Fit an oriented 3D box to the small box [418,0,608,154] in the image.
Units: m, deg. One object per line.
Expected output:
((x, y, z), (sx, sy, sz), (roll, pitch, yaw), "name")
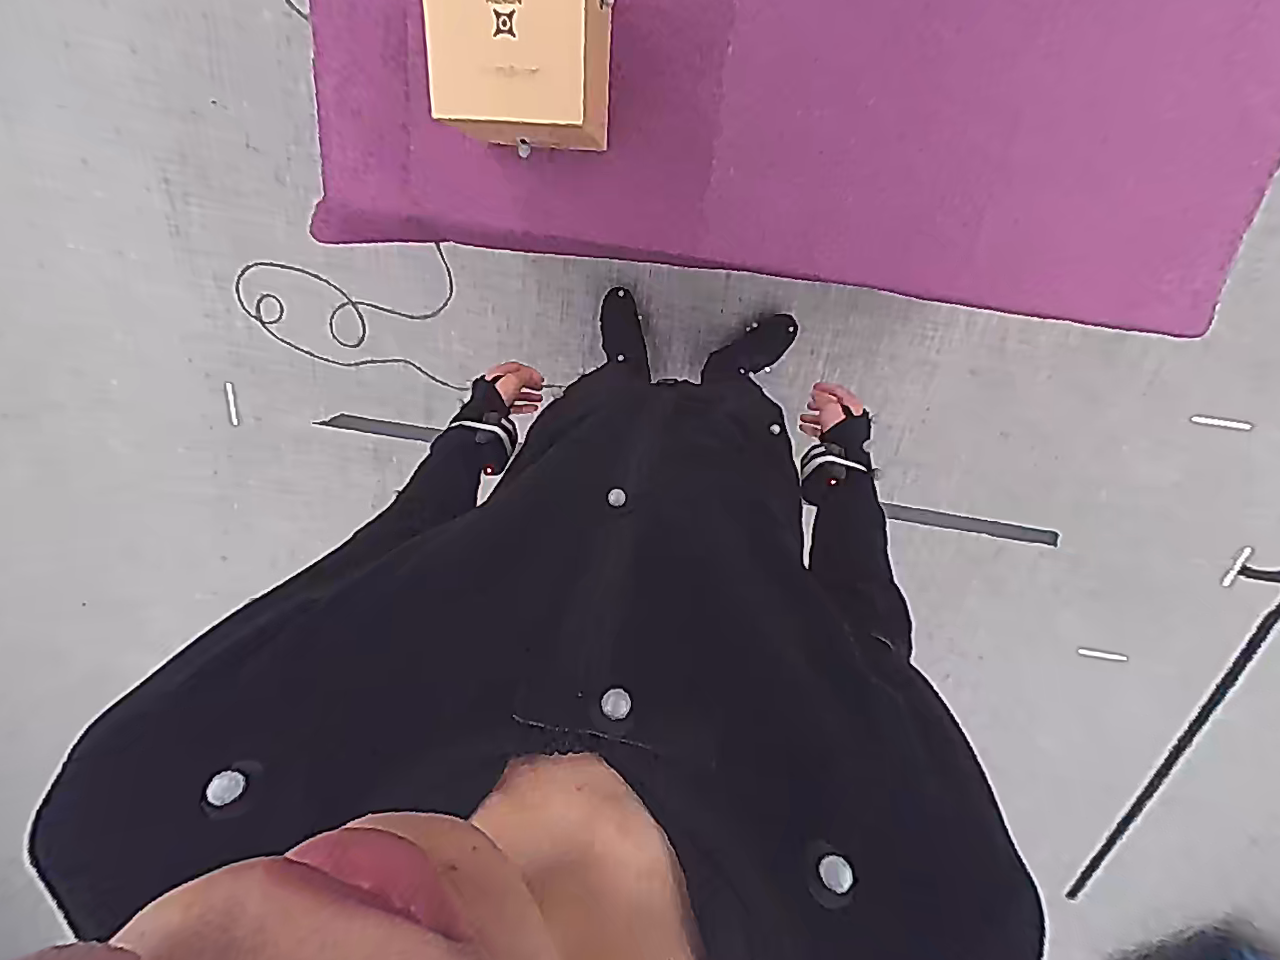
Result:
((-0.129, -0.482, 0.600), (0.168, 0.176, 0.179), (6, 114, 3), "small box")
